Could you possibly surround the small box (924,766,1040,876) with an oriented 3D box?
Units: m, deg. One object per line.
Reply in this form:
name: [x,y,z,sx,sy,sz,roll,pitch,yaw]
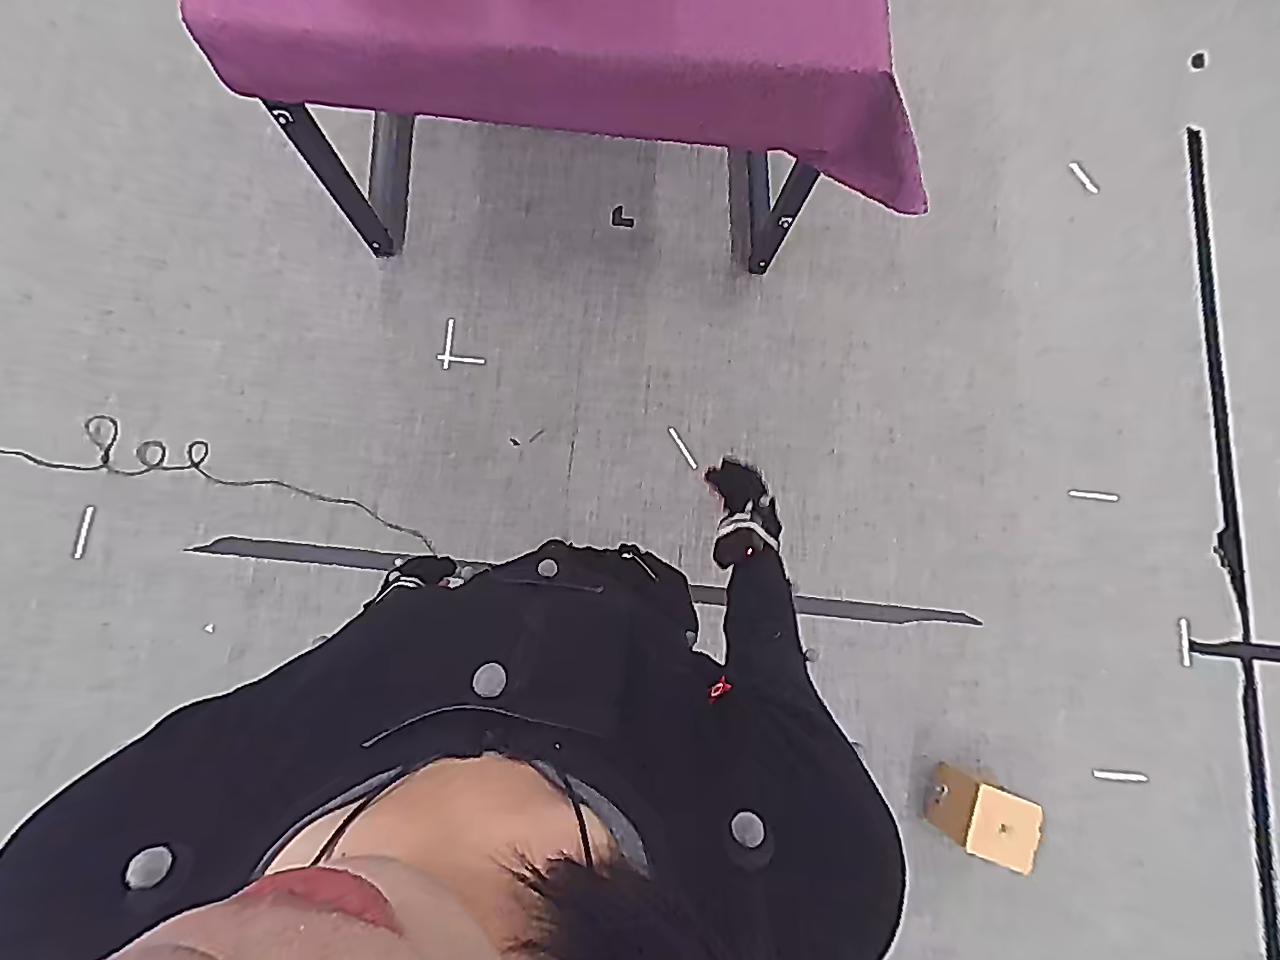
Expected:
small box: [0.886,0.878,1.413,0.179,0.176,0.168,21,79,0]
